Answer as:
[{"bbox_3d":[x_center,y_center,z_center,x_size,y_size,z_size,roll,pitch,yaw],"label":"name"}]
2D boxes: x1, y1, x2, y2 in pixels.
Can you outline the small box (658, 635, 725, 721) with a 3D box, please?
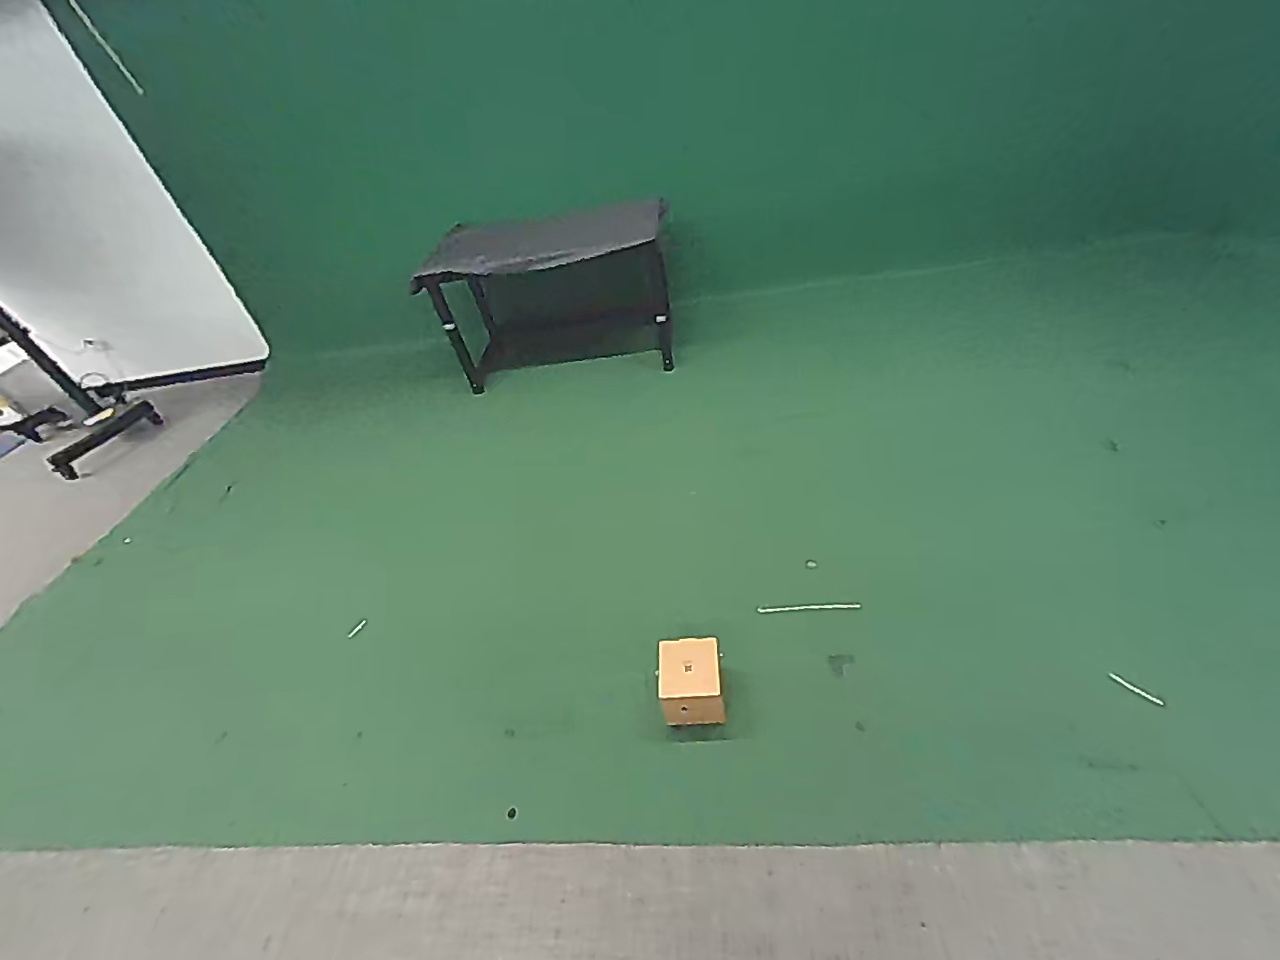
[{"bbox_3d":[0.147,0.566,1.531,0.168,0.176,0.179,-6,40,9],"label":"small box"}]
